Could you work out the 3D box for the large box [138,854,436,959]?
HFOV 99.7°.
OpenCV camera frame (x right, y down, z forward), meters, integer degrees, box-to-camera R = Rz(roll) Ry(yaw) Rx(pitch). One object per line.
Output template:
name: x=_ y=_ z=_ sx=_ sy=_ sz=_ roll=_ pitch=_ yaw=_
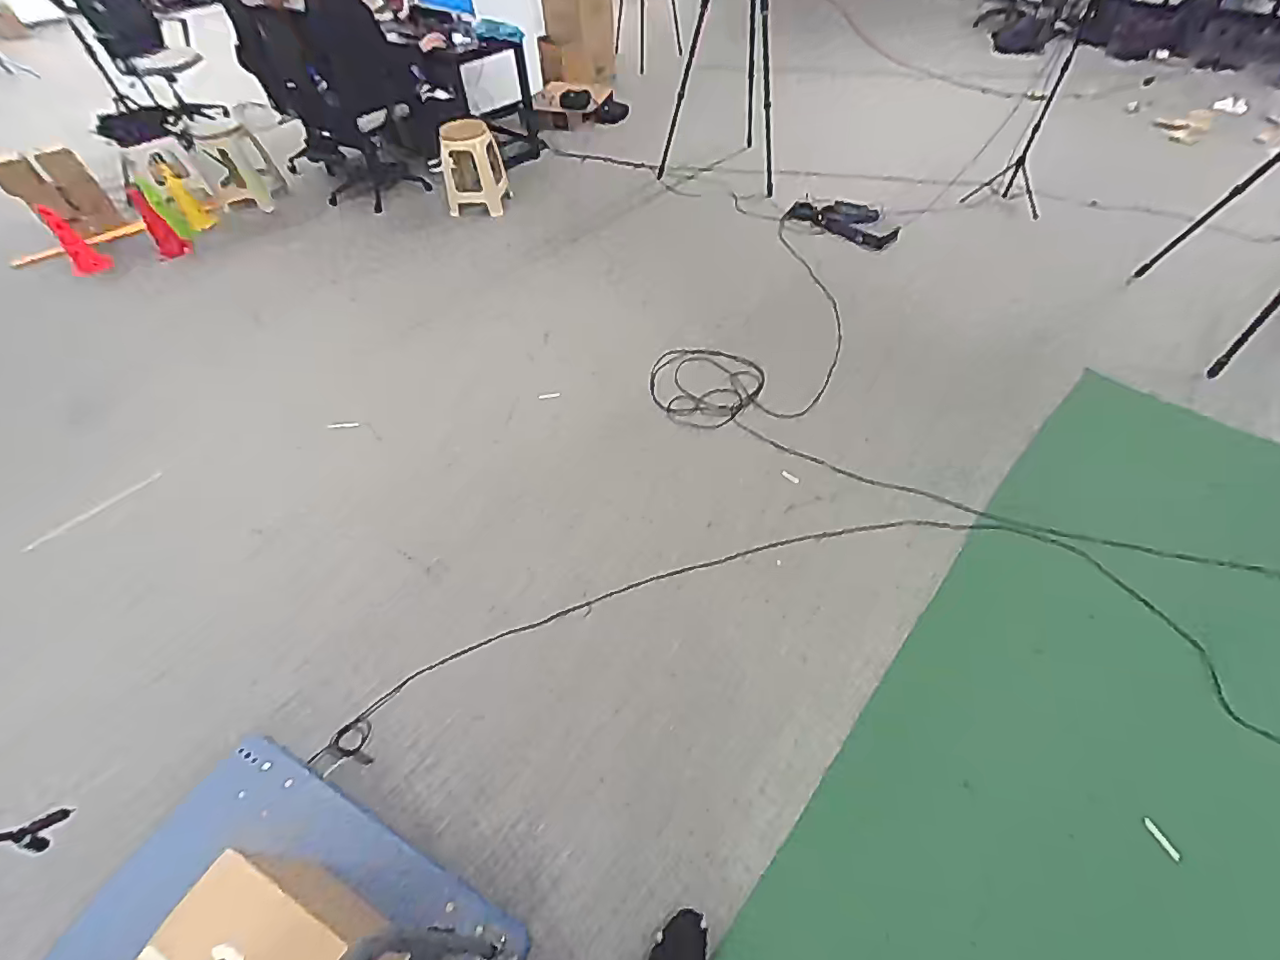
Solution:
large box: x=-0.615 y=0.921 z=0.925 sx=0.408 sy=0.320 sz=0.320 roll=20 pitch=54 yaw=19
